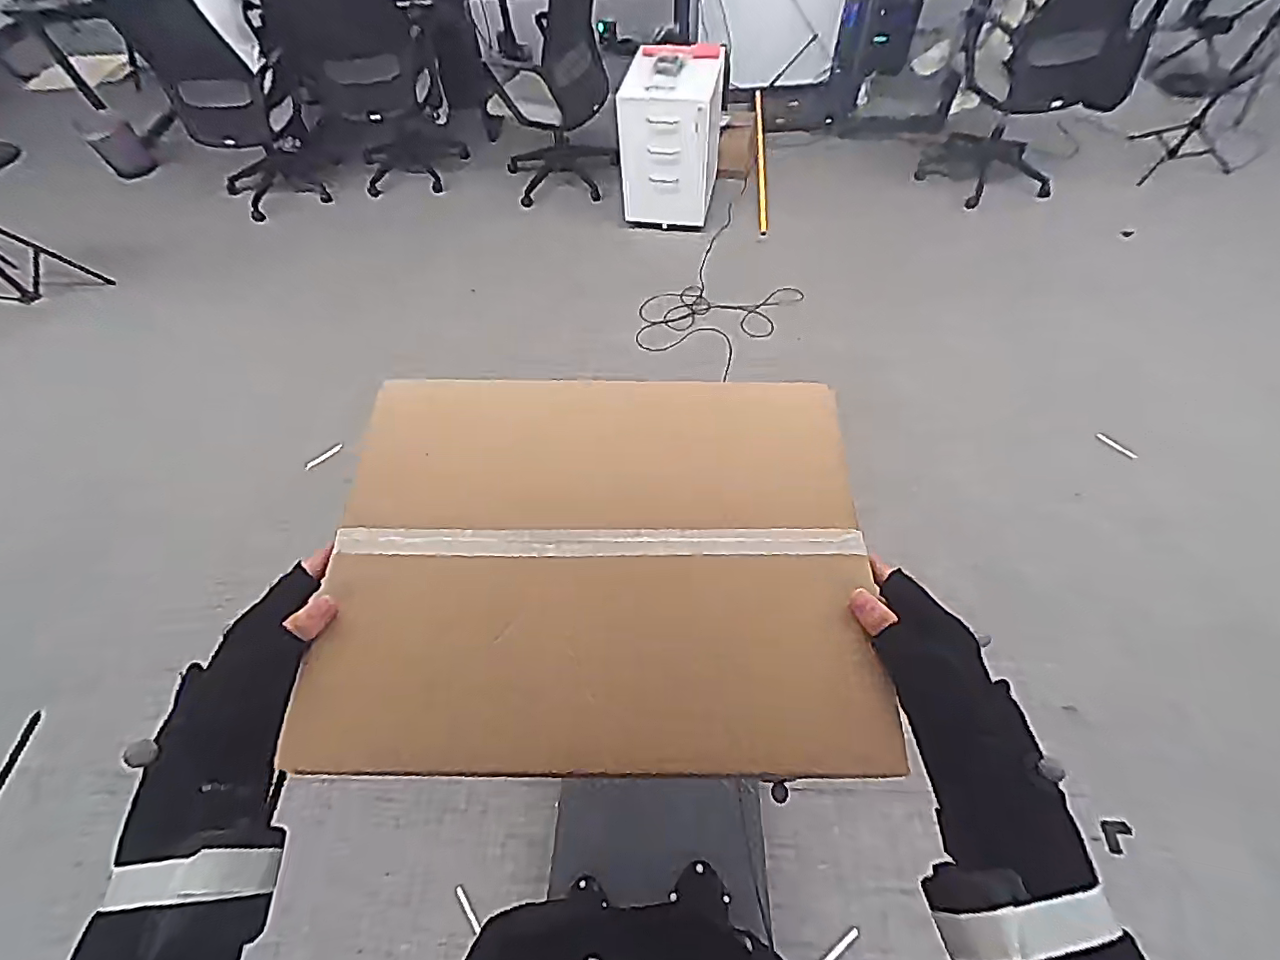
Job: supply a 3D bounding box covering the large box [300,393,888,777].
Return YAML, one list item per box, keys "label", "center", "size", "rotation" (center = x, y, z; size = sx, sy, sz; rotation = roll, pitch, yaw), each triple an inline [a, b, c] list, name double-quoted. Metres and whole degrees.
- label: "large box"
  center: [-0.029, 0.125, 0.560]
  size: [0.408, 0.320, 0.320]
  rotation: [0, 61, 0]
